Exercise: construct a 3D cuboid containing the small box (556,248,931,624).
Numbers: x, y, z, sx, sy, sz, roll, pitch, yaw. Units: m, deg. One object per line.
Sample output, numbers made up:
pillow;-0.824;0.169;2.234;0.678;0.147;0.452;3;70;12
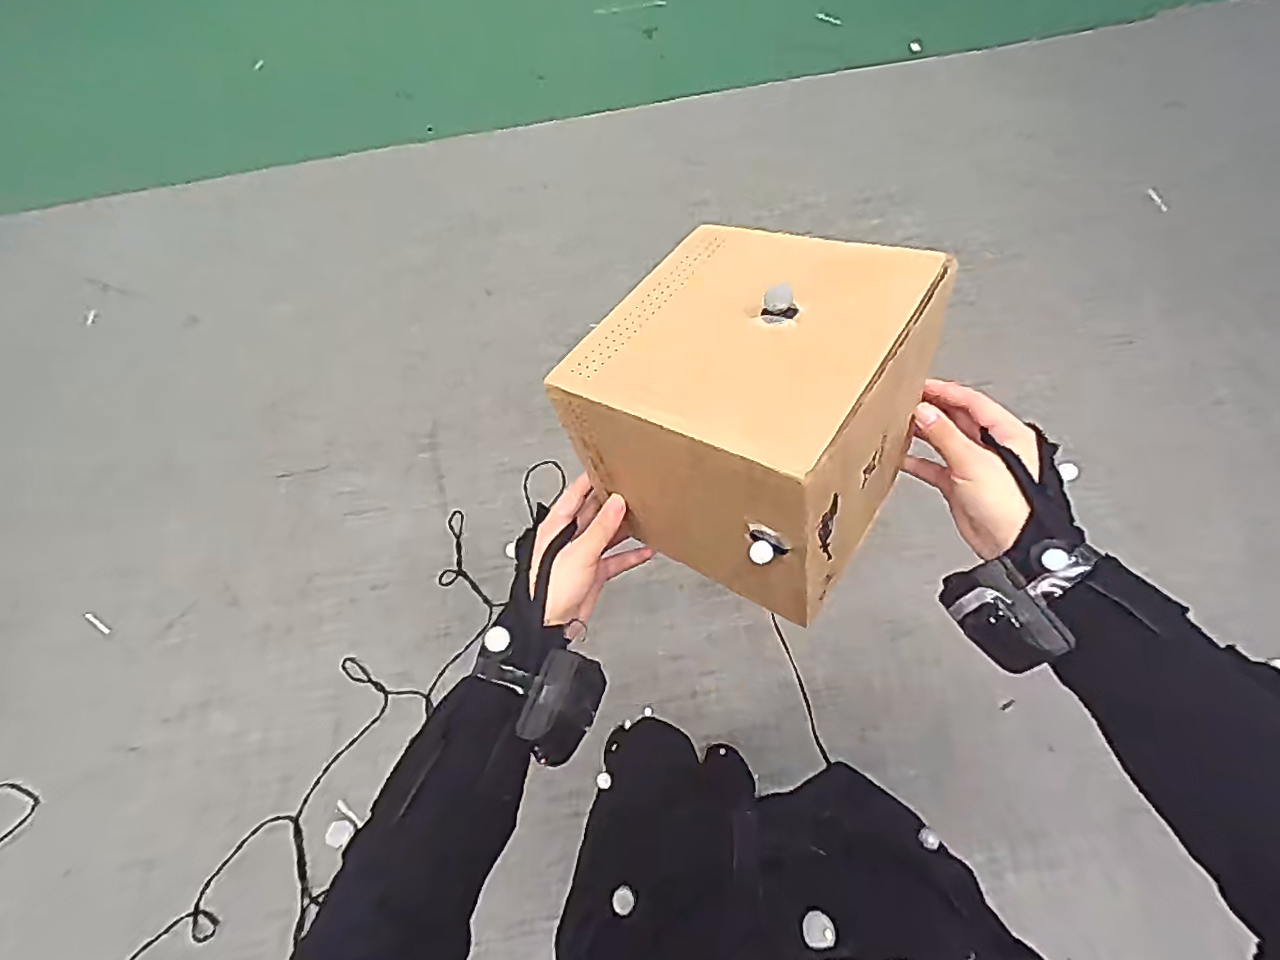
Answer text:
small box;0.073;-0.040;0.378;0.176;0.168;0.179;23;62;32
